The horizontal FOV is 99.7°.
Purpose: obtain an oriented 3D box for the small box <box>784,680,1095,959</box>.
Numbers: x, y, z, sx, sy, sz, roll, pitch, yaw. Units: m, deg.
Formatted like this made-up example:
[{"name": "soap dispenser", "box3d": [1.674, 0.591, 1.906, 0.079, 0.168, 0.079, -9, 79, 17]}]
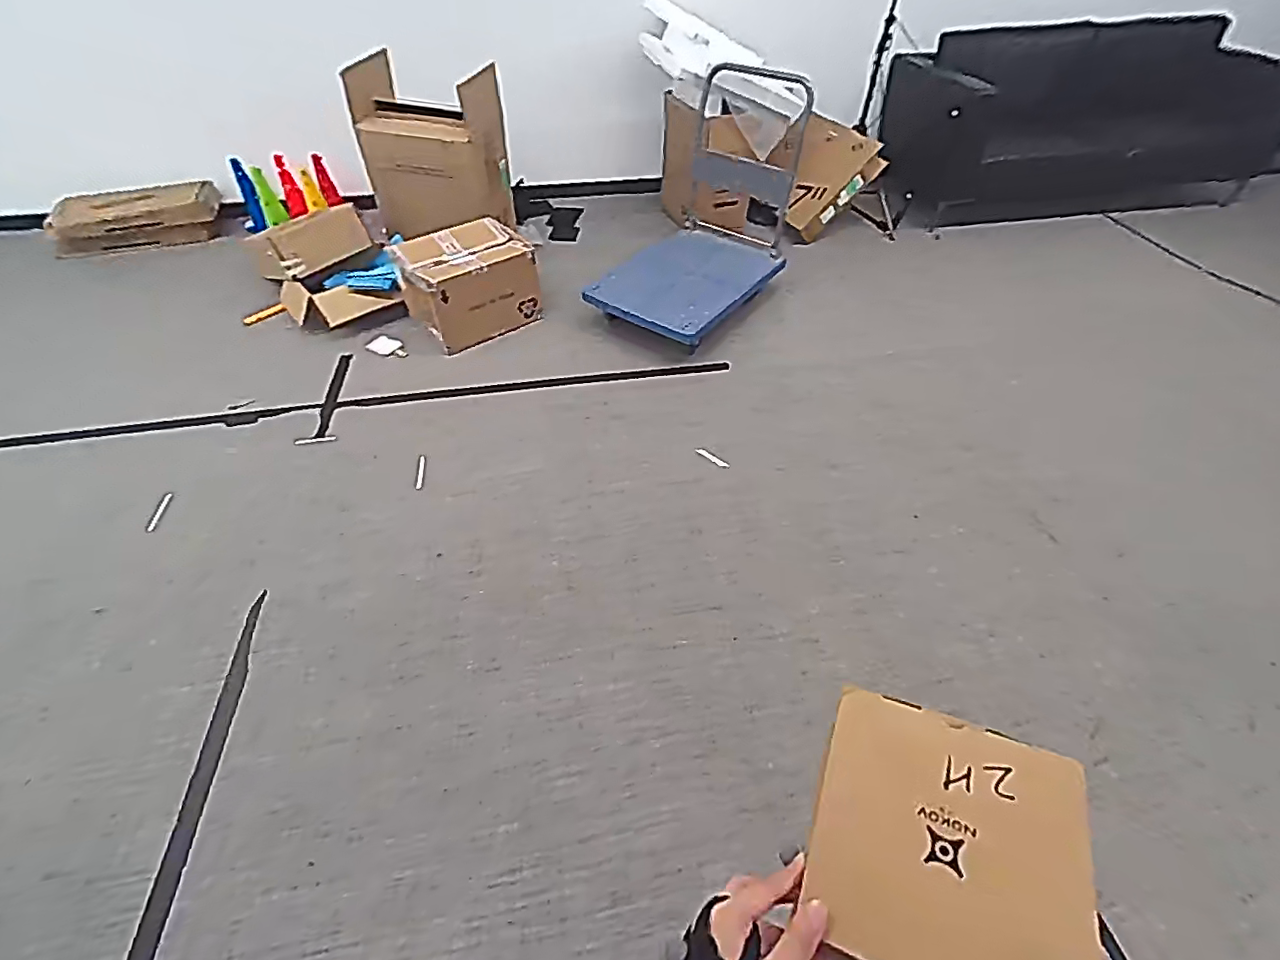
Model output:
[{"name": "small box", "box3d": [0.212, 0.295, 0.415, 0.168, 0.176, 0.179, 13, 47, 23]}]
